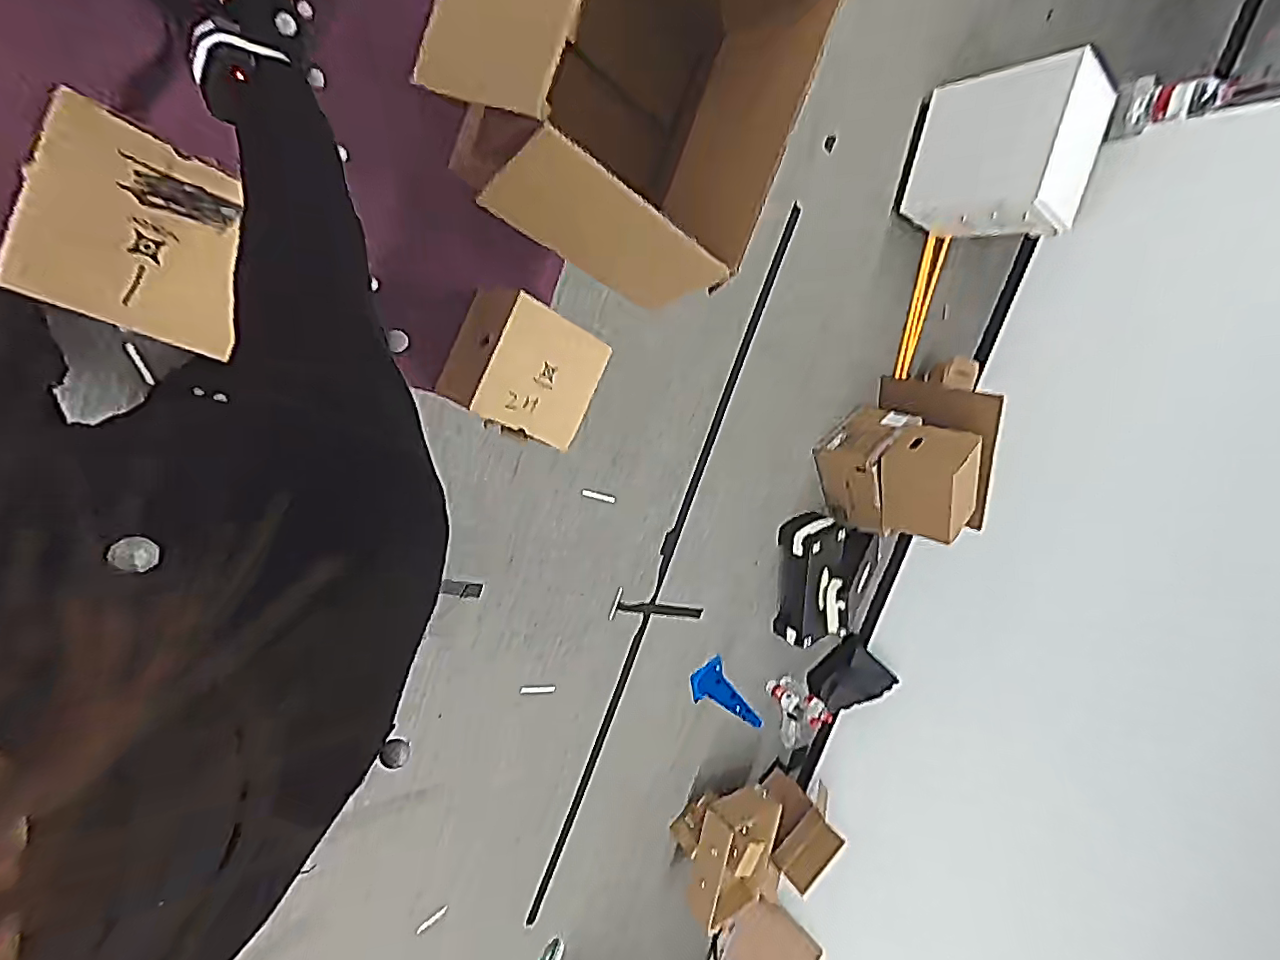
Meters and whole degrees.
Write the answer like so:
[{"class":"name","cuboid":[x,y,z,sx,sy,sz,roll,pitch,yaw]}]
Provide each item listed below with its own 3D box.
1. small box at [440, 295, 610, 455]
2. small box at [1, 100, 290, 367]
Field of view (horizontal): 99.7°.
[{"class":"small box","cuboid":[-0.181,-0.163,0.827,0.168,0.176,0.179,24,90,-39]},{"class":"small box","cuboid":[-0.495,-0.240,0.564,0.168,0.176,0.179,21,94,-39]}]
